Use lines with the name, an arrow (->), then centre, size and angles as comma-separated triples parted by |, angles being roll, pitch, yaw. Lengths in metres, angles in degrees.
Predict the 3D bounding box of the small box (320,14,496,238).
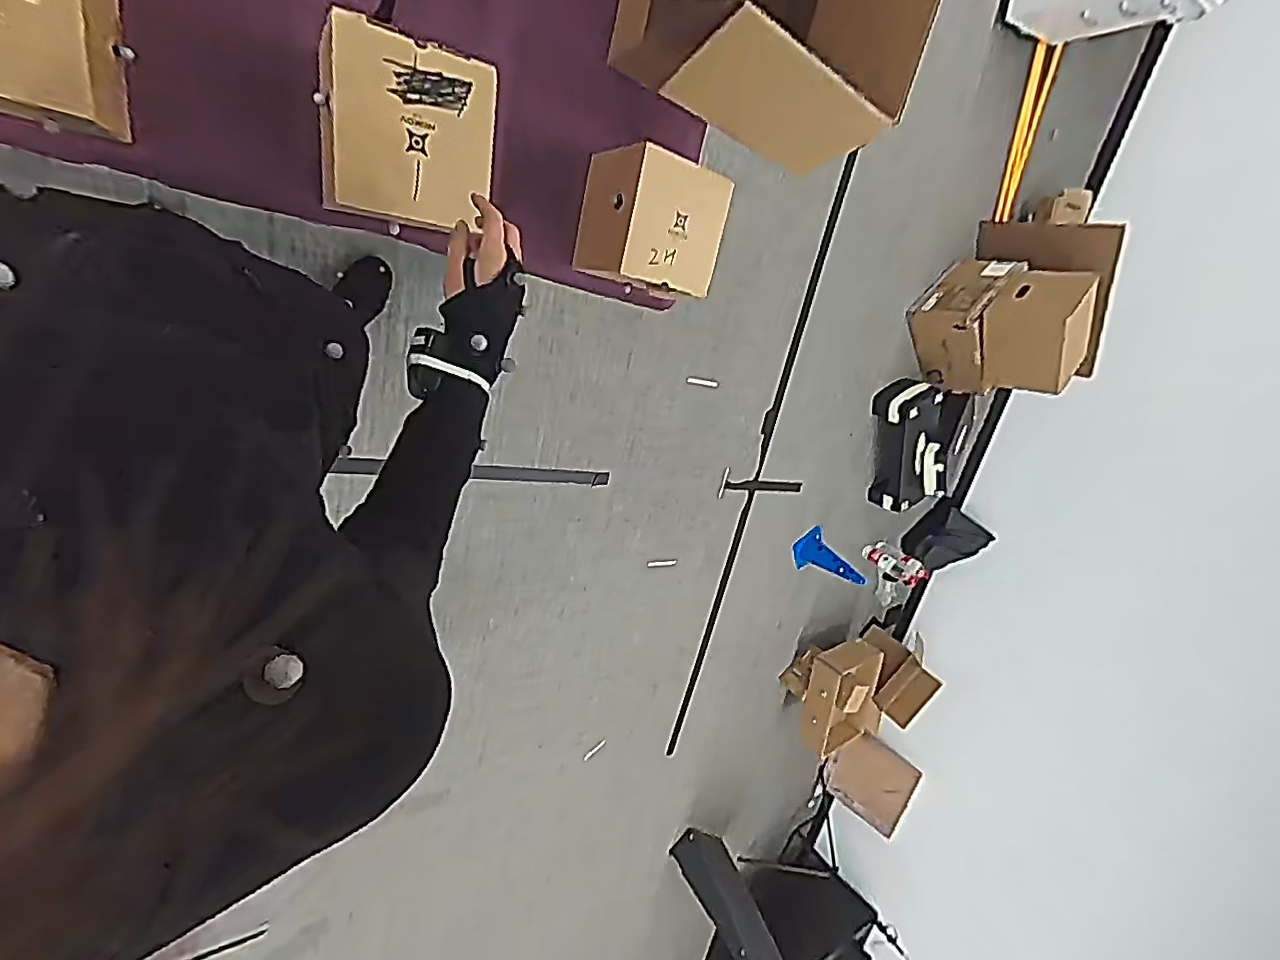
small box -> -0.286, -0.405, 0.655 | 0.168, 0.176, 0.179 | -3, 114, -33

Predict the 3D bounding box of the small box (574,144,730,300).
small box -> 0.011, -0.400, 0.860 | 0.168, 0.176, 0.179 | 3, 110, -34
